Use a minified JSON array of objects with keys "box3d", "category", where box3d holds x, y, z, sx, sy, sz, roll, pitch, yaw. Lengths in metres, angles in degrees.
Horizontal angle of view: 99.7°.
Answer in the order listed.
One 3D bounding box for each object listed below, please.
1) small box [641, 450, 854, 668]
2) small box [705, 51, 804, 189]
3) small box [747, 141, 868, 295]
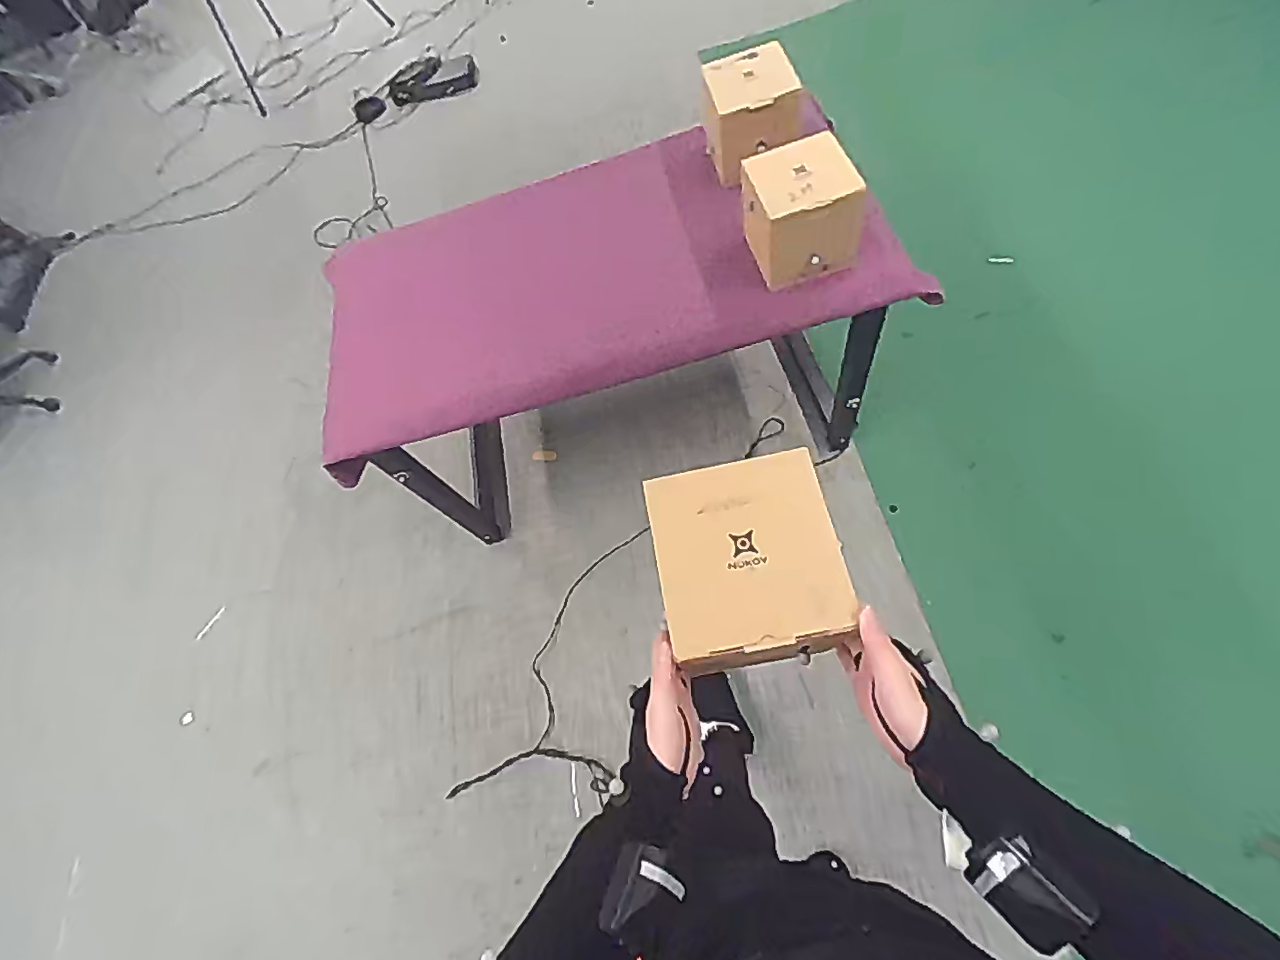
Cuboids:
[{"box3d":[0.104,0.094,0.568,0.168,0.176,0.179,-11,64,4],"category":"small box"},{"box3d":[0.244,-0.757,1.159,0.168,0.176,0.179,-13,65,6],"category":"small box"},{"box3d":[0.303,-0.483,1.012,0.168,0.176,0.179,-15,62,7],"category":"small box"}]
